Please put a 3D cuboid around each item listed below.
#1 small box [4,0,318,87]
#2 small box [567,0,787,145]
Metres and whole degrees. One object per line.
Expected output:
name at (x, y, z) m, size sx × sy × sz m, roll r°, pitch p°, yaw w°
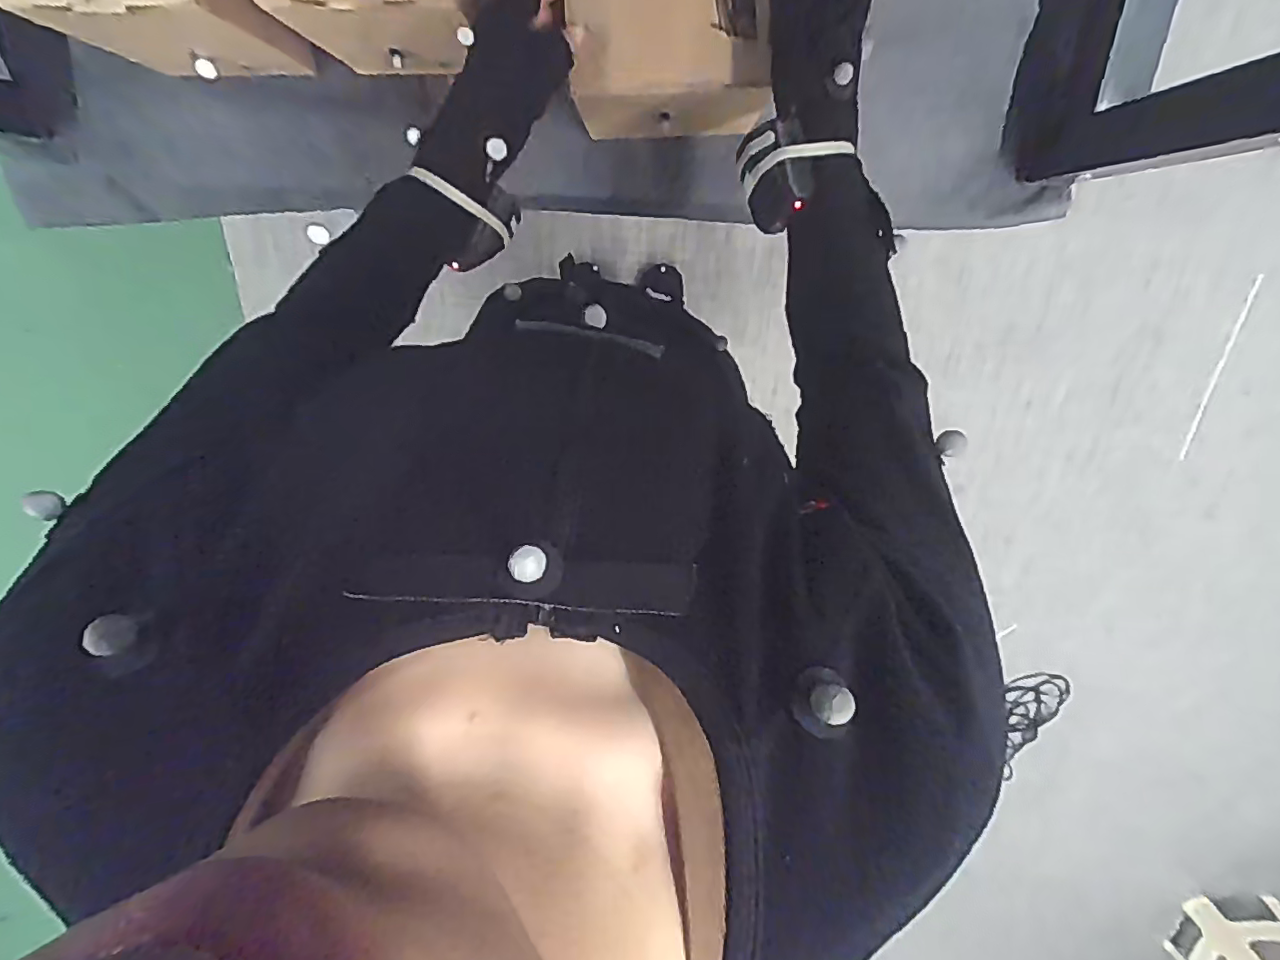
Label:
small box at (-0.425, -0.482, 0.481) m, size 0.168 × 0.176 × 0.179 m, roll 0°, pitch 111°, yaw 1°
small box at (0.030, -0.422, 0.496) m, size 0.179 × 0.176 × 0.168 m, roll -1°, pitch 110°, yaw 2°
